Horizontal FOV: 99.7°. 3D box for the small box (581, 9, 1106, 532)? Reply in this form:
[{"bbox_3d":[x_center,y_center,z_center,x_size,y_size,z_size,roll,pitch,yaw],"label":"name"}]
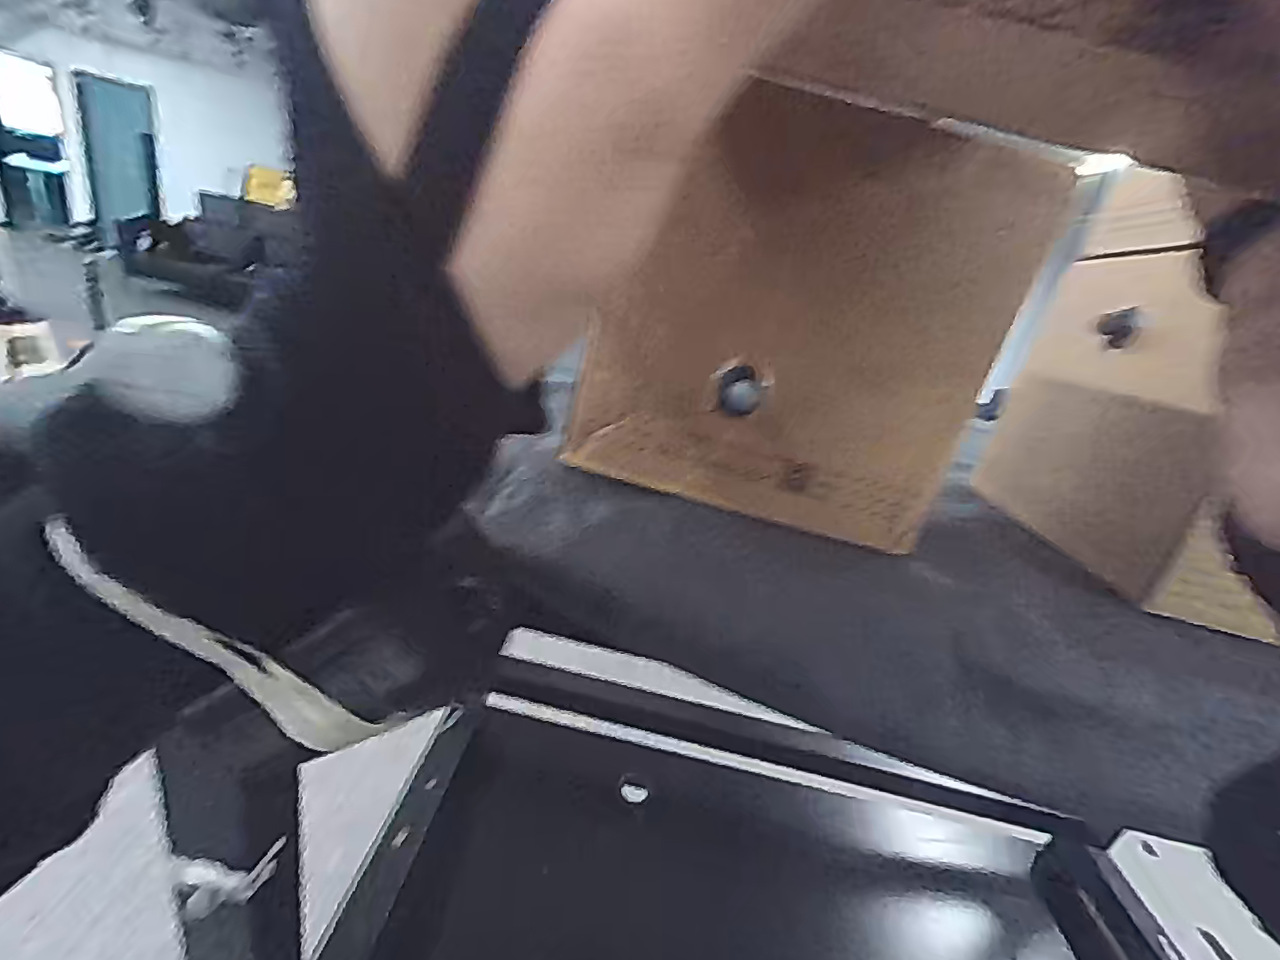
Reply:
[{"bbox_3d":[0.073,-0.095,0.295,0.168,0.176,0.179,15,20,-1],"label":"small box"}]

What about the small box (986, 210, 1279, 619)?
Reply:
[{"bbox_3d":[0.338,-0.031,0.297,0.168,0.176,0.179,14,19,1],"label":"small box"}]

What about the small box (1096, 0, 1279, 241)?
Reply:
[{"bbox_3d":[0.377,-0.181,0.243,0.168,0.176,0.179,15,20,0],"label":"small box"}]
